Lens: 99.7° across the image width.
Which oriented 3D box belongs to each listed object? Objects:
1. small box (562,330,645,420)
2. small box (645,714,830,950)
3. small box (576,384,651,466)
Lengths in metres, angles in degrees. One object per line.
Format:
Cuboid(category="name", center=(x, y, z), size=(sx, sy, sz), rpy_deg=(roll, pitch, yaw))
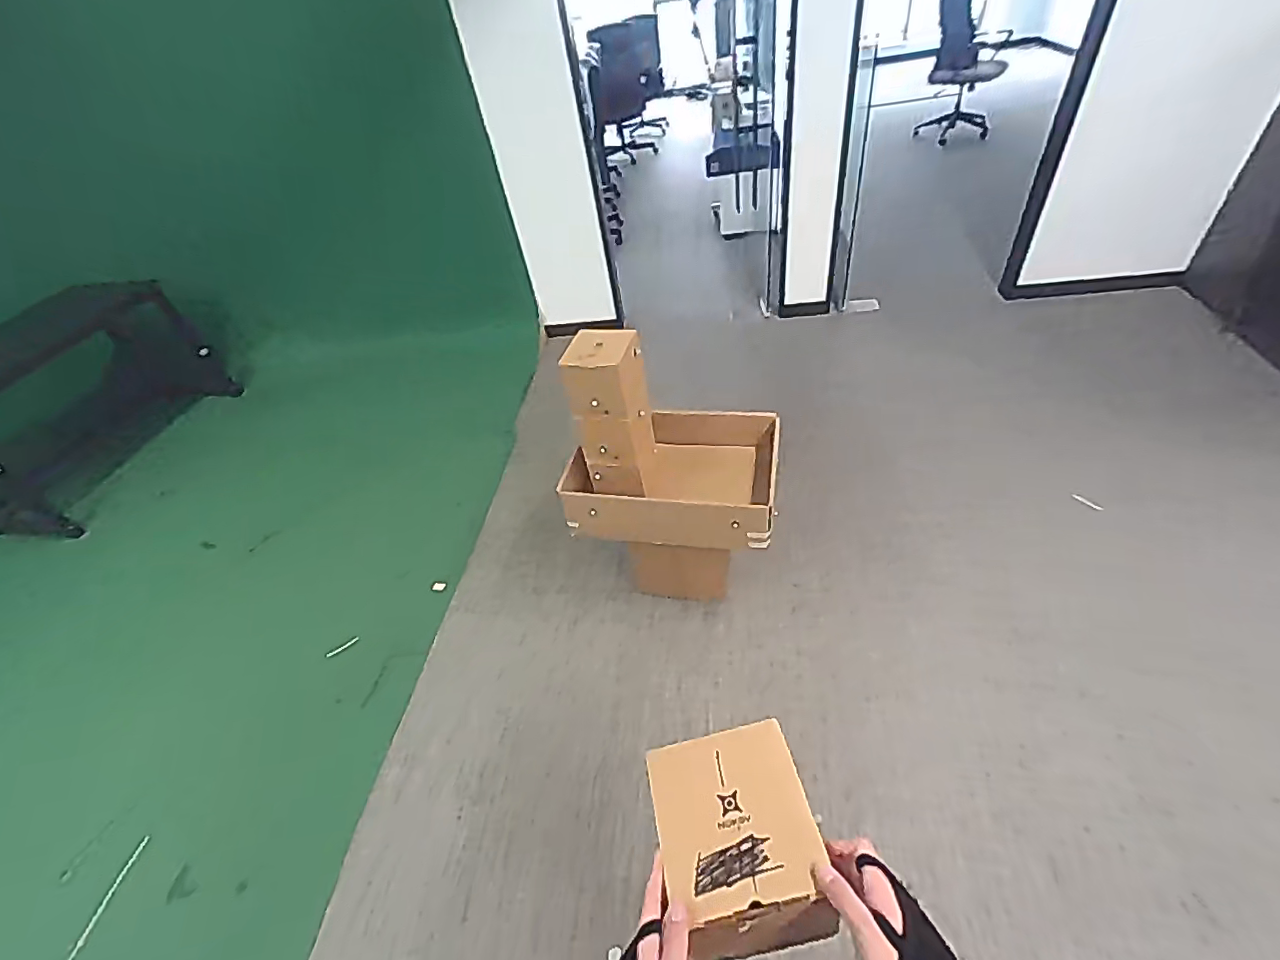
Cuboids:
Cuboid(category="small box", center=(-0.090, -0.285, 1.458), size=(0.168, 0.176, 0.179), rpy_deg=(5, 46, 17))
Cuboid(category="small box", center=(0.112, 0.411, 0.628), size=(0.168, 0.176, 0.179), rpy_deg=(-14, 36, 1))
Cuboid(category="small box", center=(-0.068, -0.165, 1.570), size=(0.168, 0.176, 0.179), rpy_deg=(5, 46, 16))
